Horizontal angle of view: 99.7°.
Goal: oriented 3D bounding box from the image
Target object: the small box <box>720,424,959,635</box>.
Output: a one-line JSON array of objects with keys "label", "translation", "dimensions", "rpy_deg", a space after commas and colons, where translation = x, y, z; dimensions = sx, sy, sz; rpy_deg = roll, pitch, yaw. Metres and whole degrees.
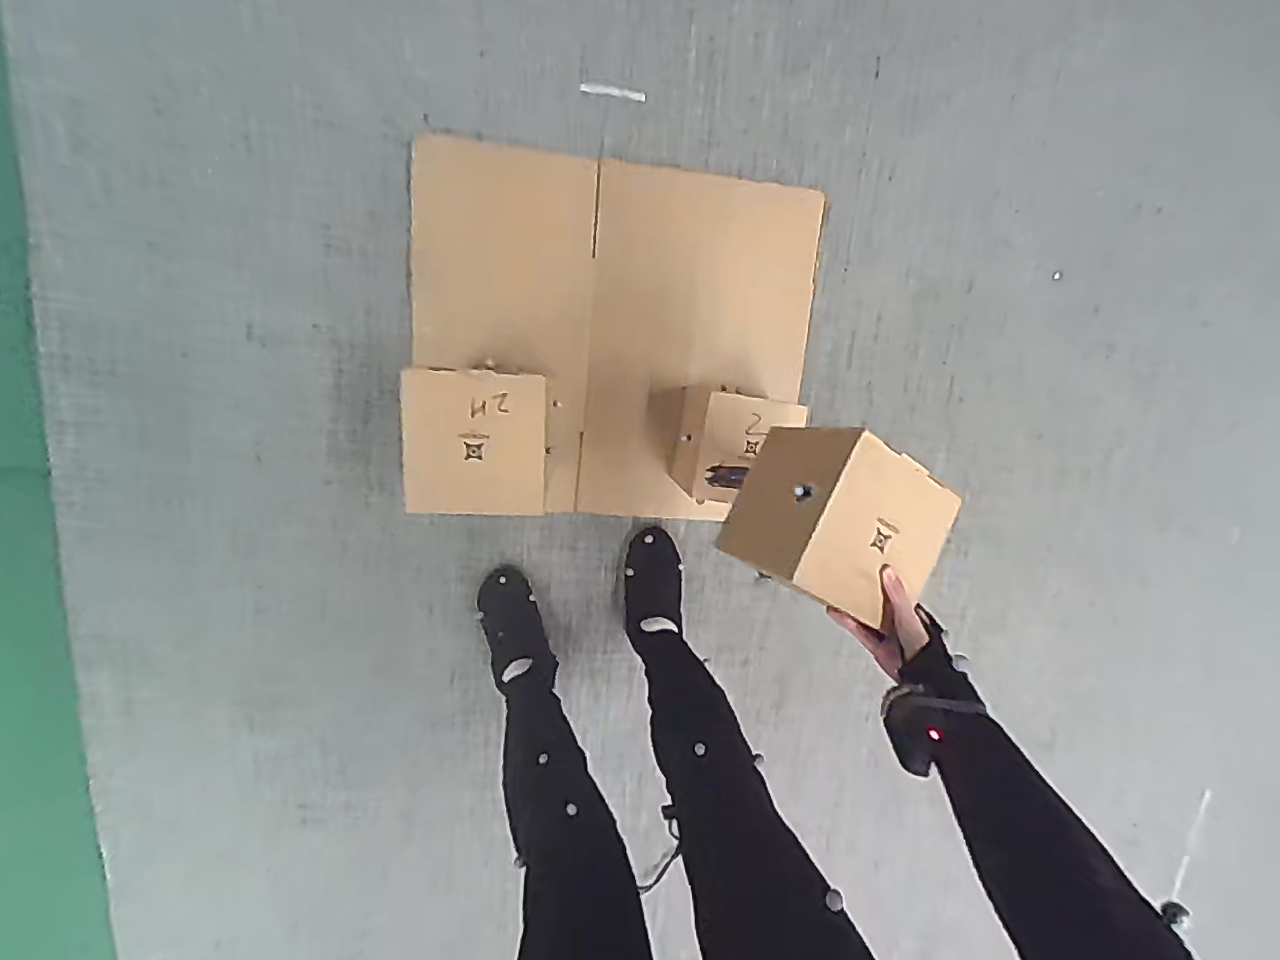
[{"label": "small box", "translation": [0.222, 0.047, 0.637], "dimensions": [0.168, 0.176, 0.179], "rpy_deg": [30, 84, -21]}]

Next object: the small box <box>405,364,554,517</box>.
[{"label": "small box", "translation": [-0.201, -0.059, 0.715], "dimensions": [0.168, 0.176, 0.179], "rpy_deg": [2, 101, -9]}]
